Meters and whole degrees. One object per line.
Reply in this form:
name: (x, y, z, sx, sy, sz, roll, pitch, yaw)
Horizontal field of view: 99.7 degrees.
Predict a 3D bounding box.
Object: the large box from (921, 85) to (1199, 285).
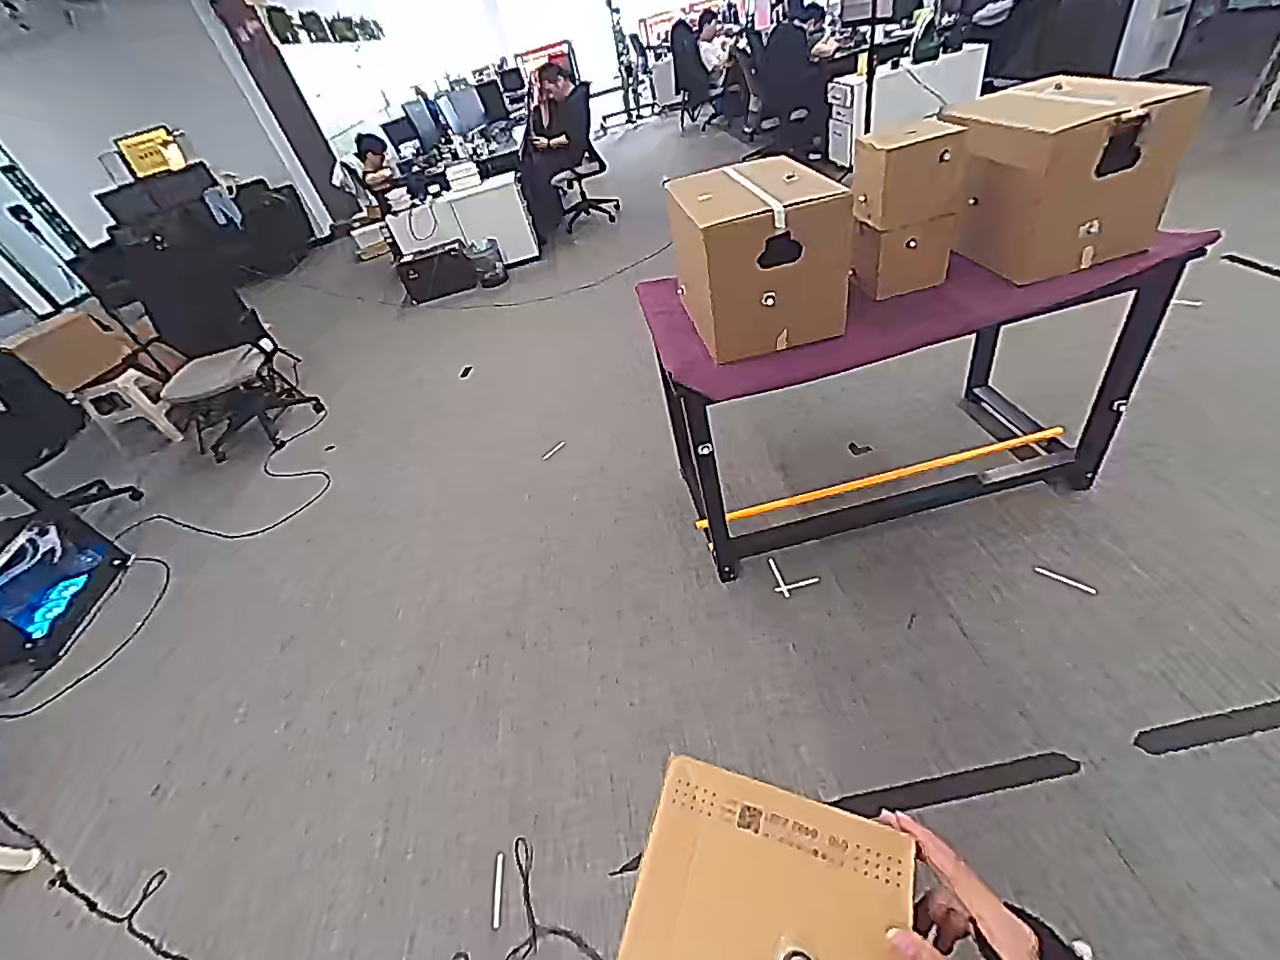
large box: (0.938, -0.709, 1.287, 0.320, 0.320, 0.408, -15, 39, 1)
